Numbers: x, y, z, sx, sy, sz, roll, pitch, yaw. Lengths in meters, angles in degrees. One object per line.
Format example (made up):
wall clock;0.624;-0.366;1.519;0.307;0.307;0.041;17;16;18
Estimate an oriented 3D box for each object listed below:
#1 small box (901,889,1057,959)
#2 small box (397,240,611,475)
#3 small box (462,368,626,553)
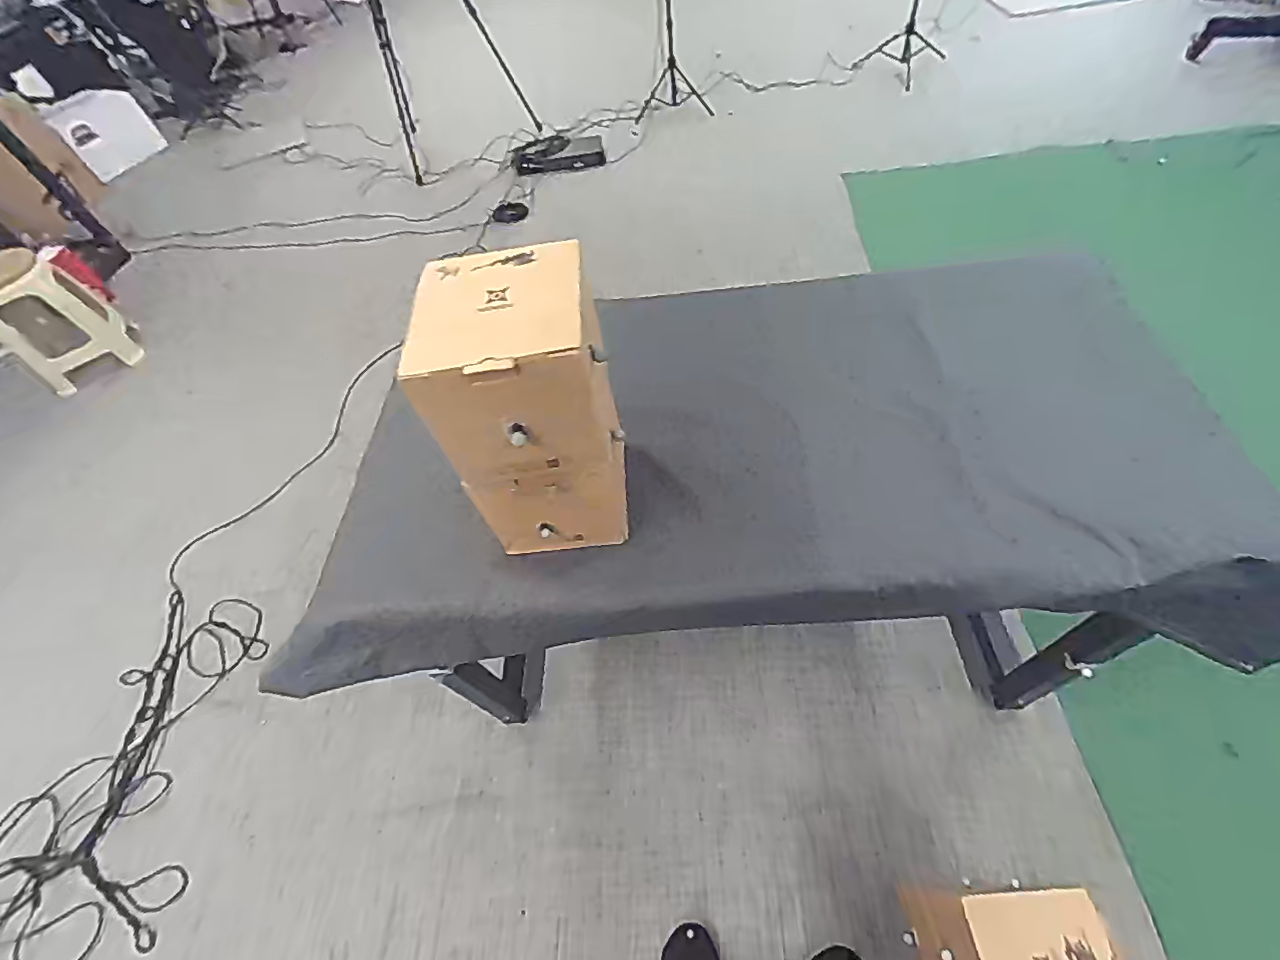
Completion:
small box;0.571;0.798;0.909;0.179;0.176;0.168;-7;53;4
small box;-0.126;-0.118;0.572;0.168;0.176;0.179;-8;55;3
small box;-0.112;-0.025;0.706;0.168;0.176;0.179;-7;54;4
